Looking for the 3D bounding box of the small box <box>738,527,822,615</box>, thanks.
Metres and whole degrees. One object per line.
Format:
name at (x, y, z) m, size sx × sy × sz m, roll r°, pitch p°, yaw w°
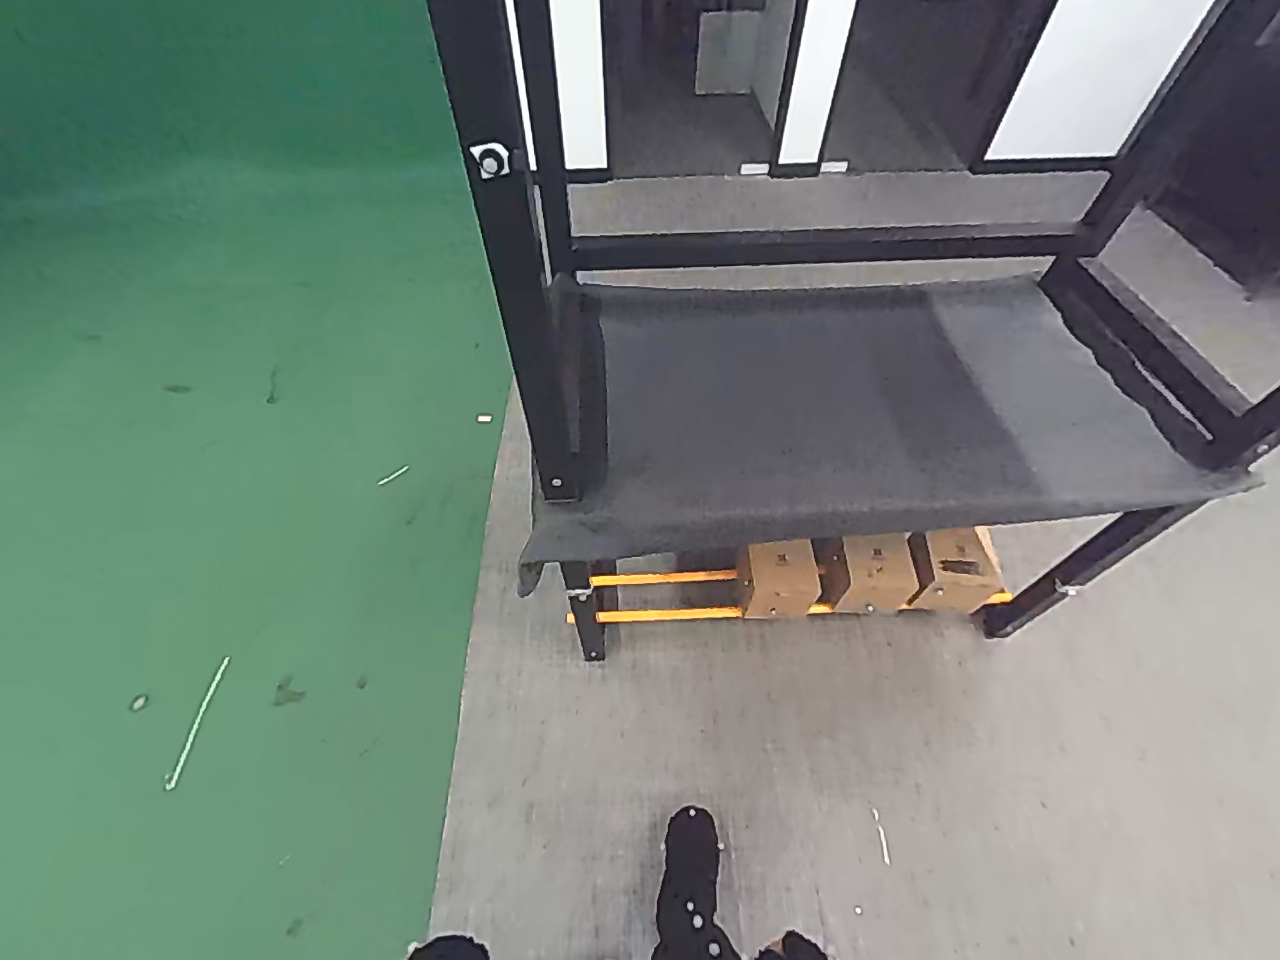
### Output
small box at (0.354, 0.239, 1.408) m, size 0.168 × 0.176 × 0.179 m, roll -1°, pitch 56°, yaw -1°
